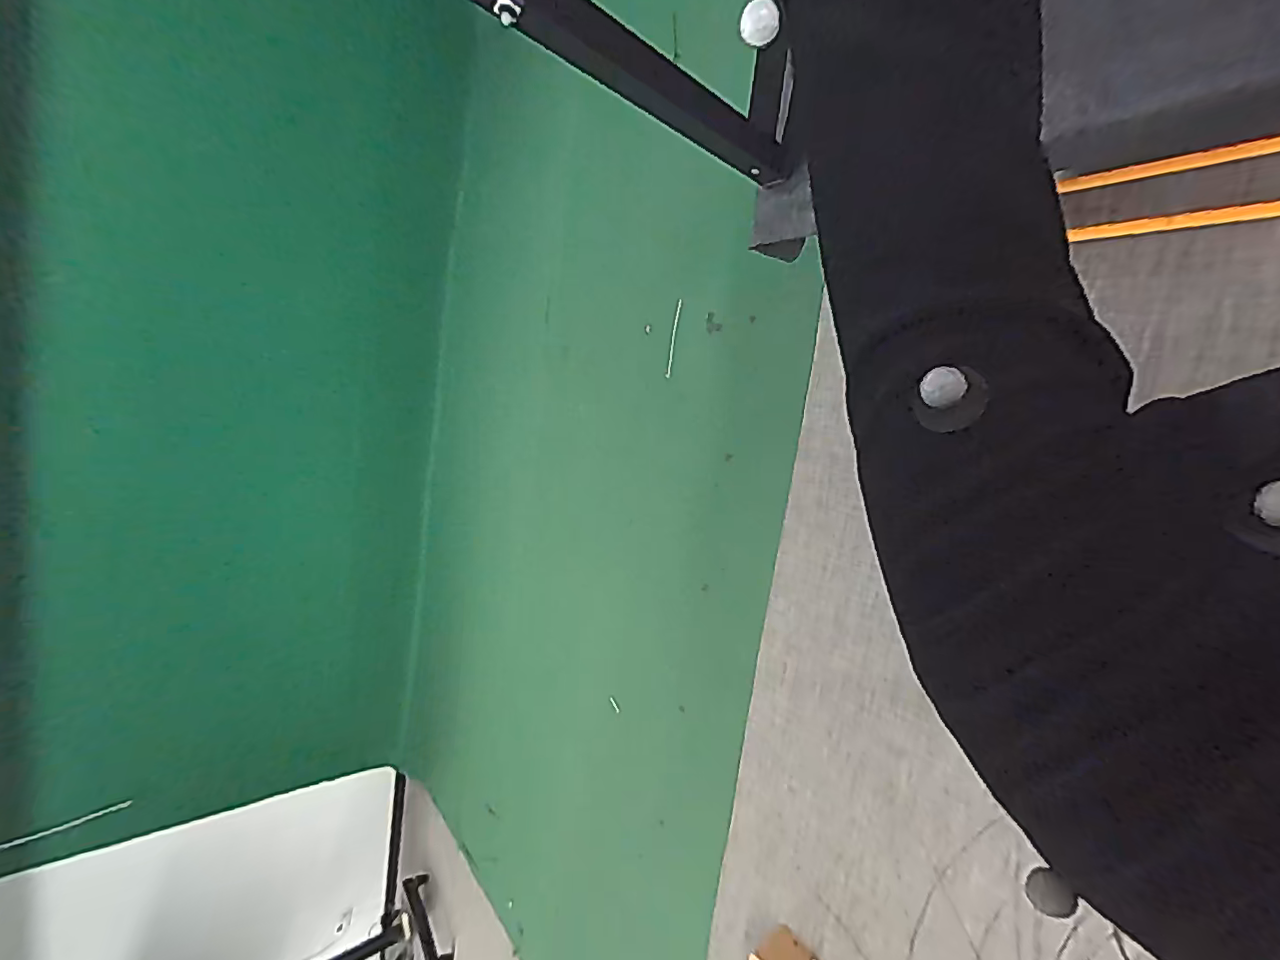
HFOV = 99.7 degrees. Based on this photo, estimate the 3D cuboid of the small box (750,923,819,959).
[{"bbox_3d":[0.438,1.511,1.636,0.168,0.176,0.179,19,103,48],"label":"small box"}]
